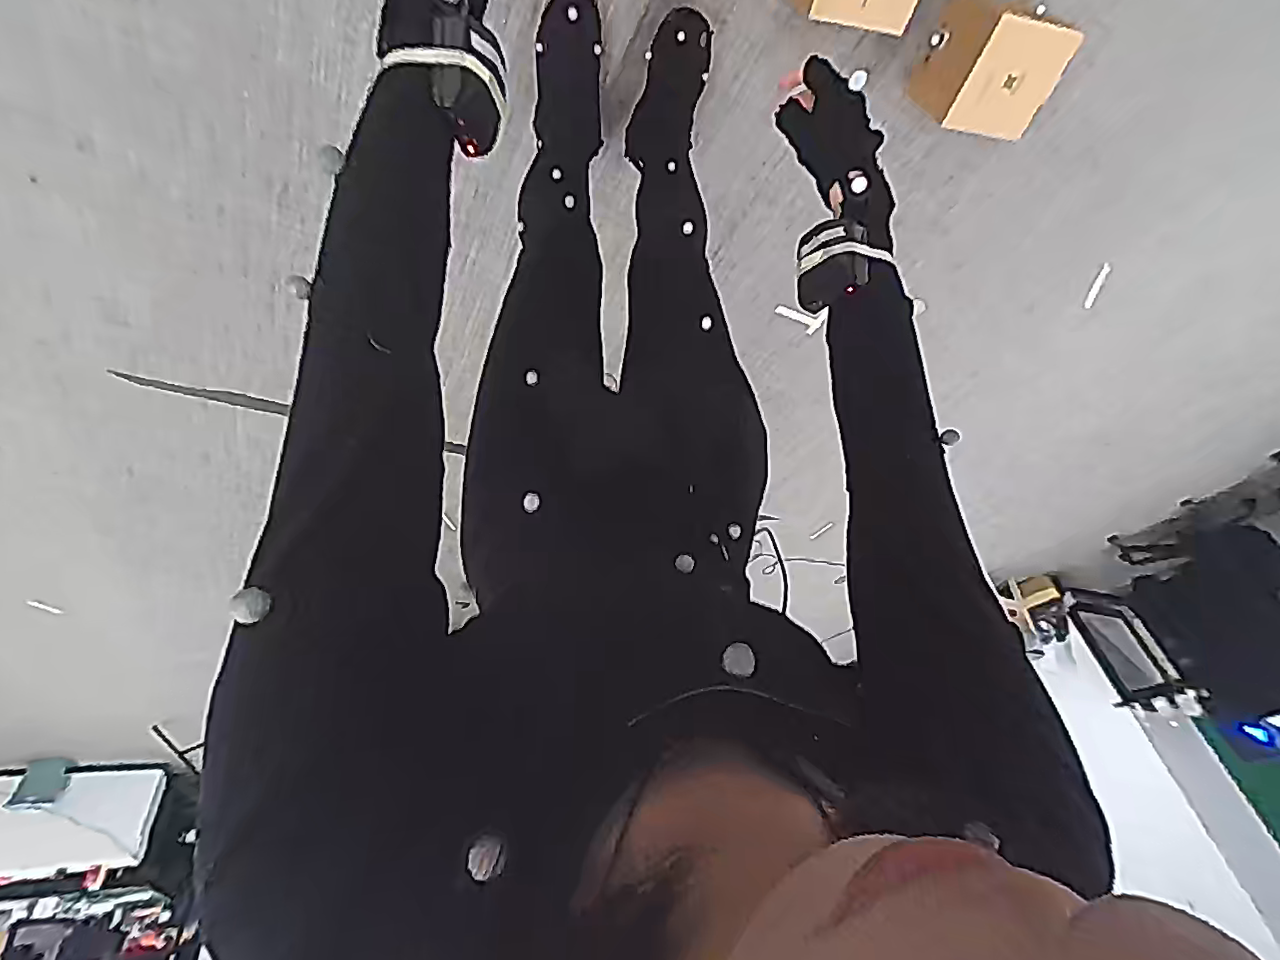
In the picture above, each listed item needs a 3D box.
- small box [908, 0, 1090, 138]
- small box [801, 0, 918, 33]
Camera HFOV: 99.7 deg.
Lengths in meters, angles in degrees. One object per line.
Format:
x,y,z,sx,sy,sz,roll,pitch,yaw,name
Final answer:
0.629,-0.749,0.972,0.179,0.176,0.168,1,142,-12,small box
0.337,-0.818,0.812,0.168,0.176,0.179,0,143,-12,small box
